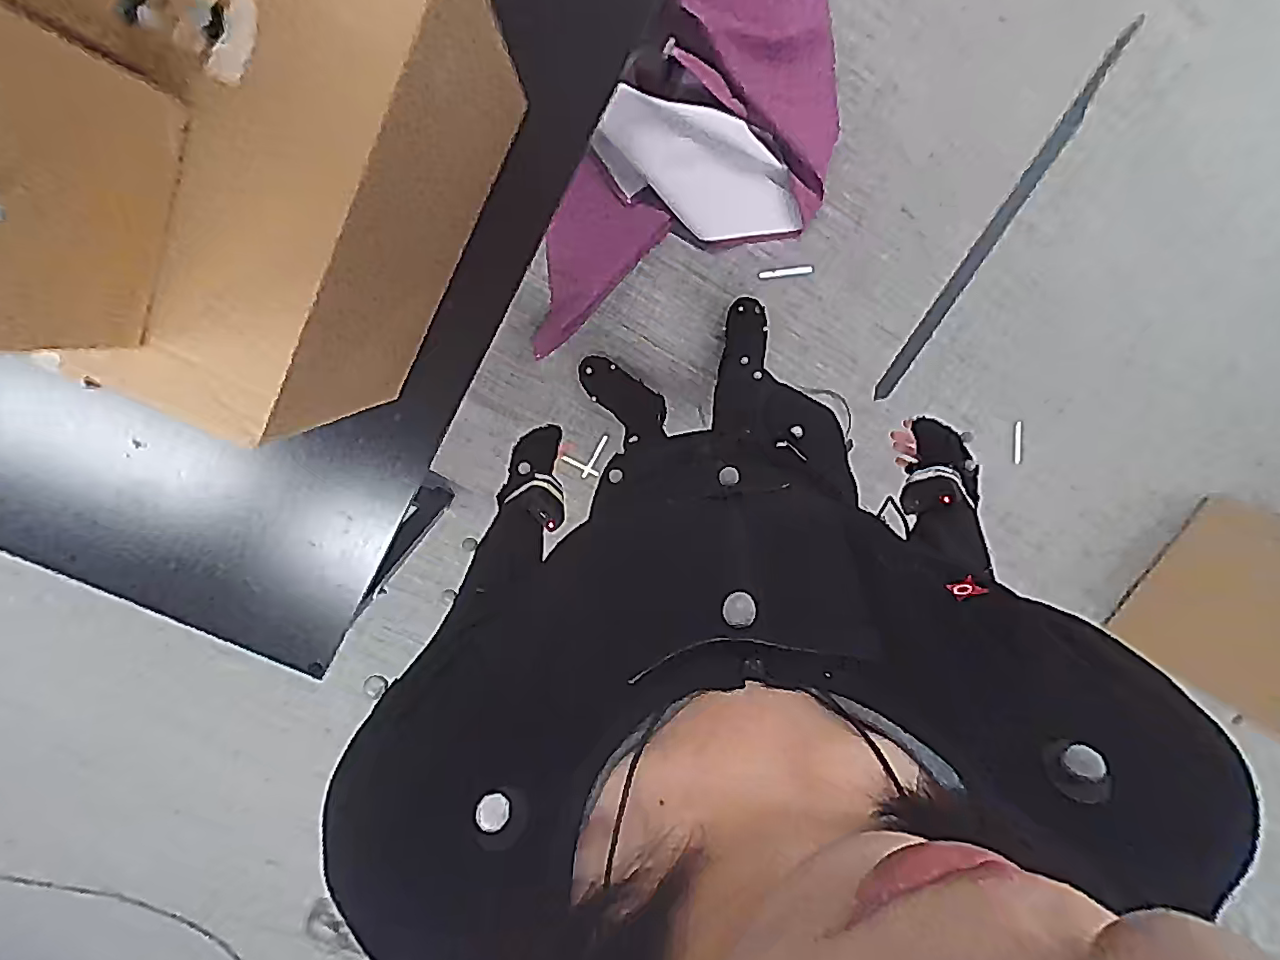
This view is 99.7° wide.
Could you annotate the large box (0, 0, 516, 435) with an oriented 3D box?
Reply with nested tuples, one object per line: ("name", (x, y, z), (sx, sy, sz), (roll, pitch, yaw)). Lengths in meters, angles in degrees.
("large box", (-0.356, -0.304, 0.509), (0.320, 0.320, 0.408), (26, 101, -11))
